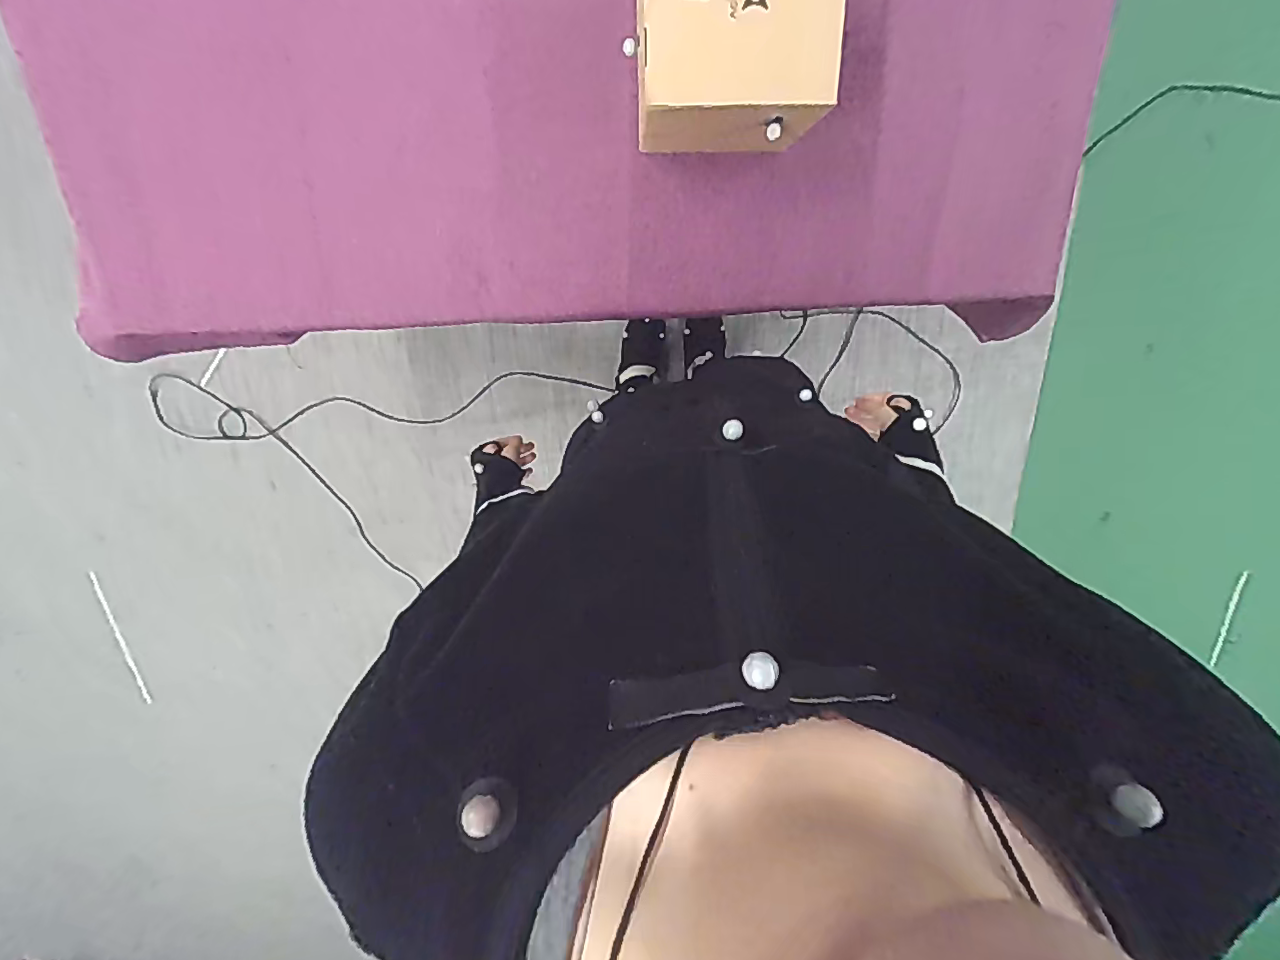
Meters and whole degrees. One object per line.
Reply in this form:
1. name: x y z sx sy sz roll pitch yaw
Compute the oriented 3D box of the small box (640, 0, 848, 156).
1. small box: 0.090 -0.436 0.537 0.179 0.176 0.168 -1 109 0
